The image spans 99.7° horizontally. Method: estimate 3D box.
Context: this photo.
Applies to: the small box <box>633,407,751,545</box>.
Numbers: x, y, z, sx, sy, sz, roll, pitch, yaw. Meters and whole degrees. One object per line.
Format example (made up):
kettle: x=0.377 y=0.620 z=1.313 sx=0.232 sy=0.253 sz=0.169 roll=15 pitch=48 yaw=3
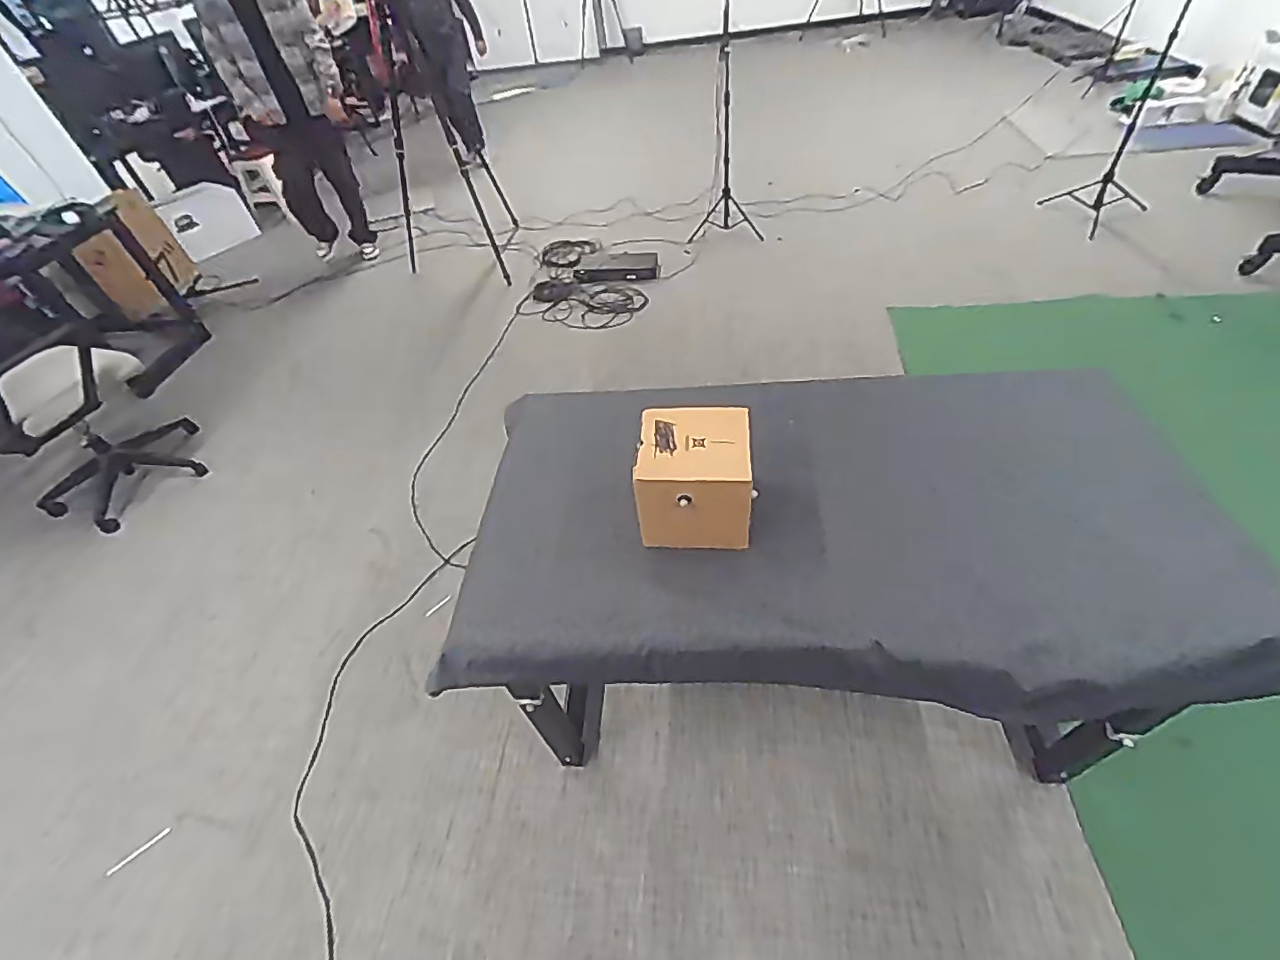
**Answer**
small box: x=0.092 y=-0.005 z=0.902 sx=0.179 sy=0.176 sz=0.168 roll=1 pitch=48 yaw=8
